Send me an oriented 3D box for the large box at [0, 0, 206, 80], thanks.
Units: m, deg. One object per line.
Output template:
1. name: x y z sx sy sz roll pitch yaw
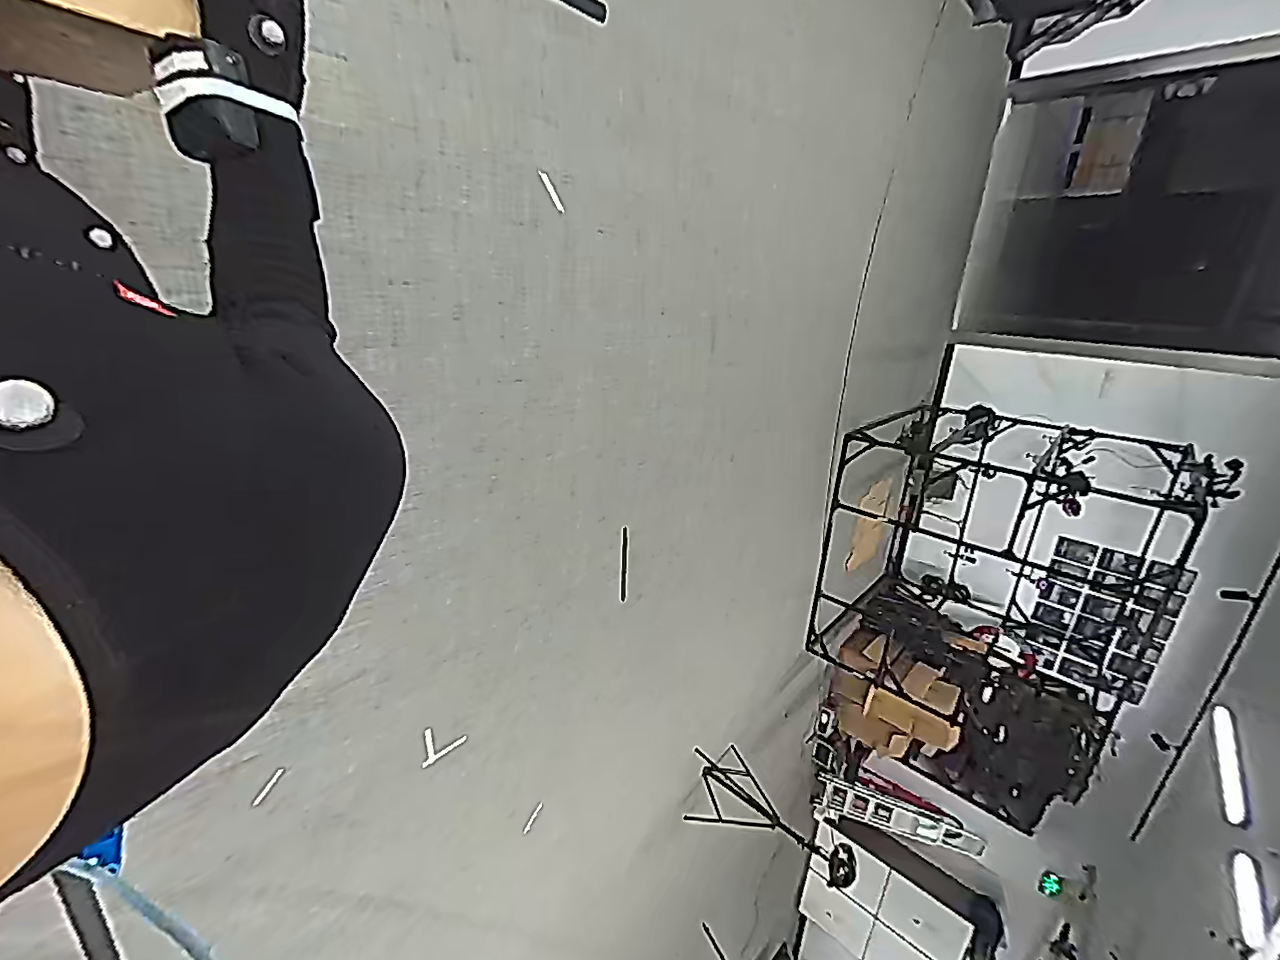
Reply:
1. large box: -0.543 -0.472 0.283 0.408 0.320 0.320 -17 122 -48
